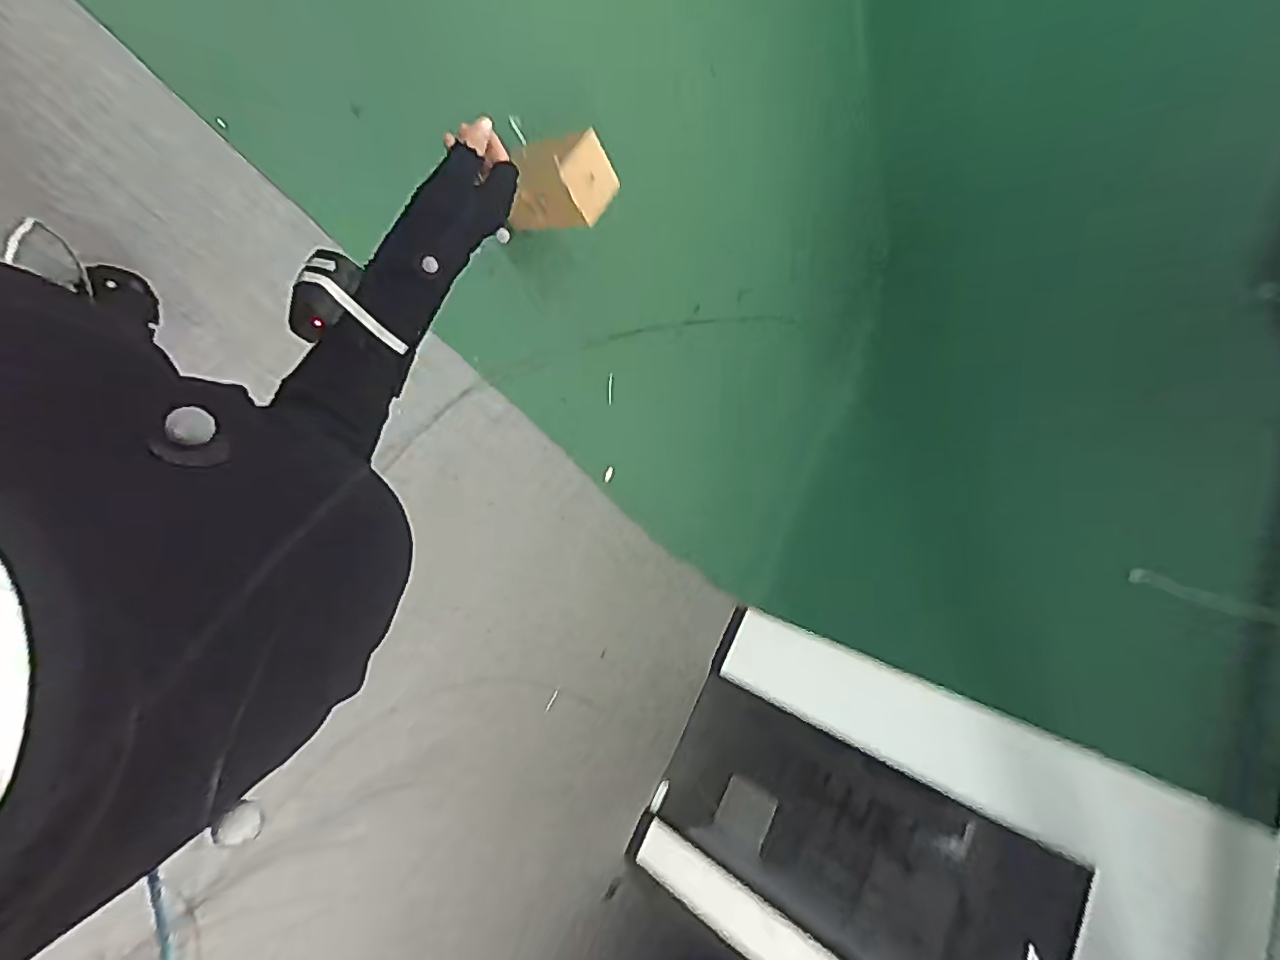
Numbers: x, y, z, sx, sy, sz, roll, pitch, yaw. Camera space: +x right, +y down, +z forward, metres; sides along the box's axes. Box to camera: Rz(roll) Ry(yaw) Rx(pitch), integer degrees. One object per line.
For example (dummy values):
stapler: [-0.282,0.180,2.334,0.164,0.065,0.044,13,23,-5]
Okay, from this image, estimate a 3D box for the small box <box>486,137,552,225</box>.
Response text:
small box: [-0.322,-0.889,1.613,0.179,0.176,0.168,-60,141,-16]

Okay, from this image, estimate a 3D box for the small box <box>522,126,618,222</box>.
small box: [-0.198,-0.851,1.515,0.179,0.176,0.168,-60,142,-15]
